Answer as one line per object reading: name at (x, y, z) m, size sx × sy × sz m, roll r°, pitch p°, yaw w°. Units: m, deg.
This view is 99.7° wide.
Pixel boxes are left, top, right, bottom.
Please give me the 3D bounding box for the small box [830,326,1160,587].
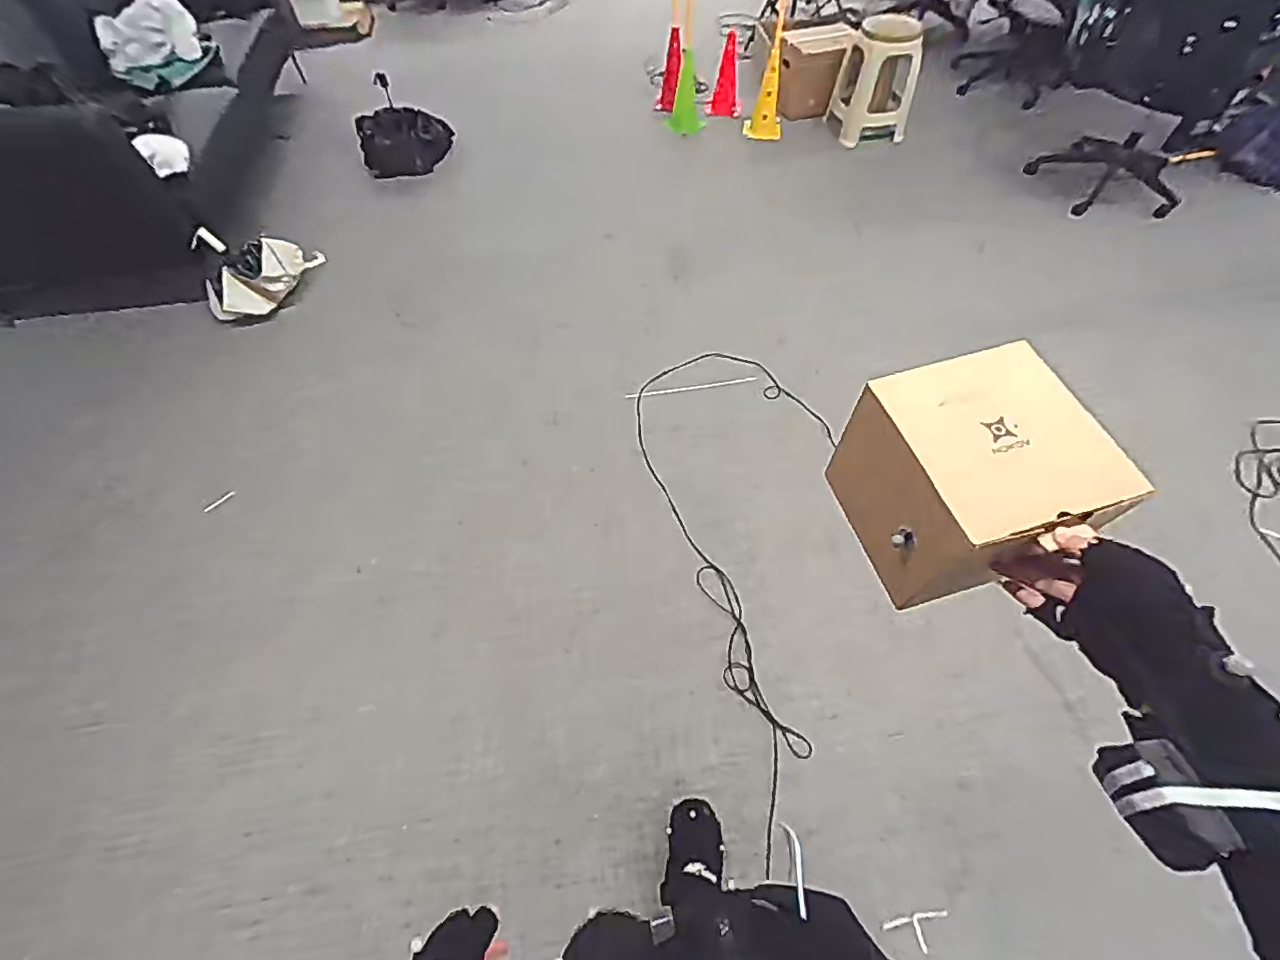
small box at (0.310, -0.011, 0.523) m, size 0.168 × 0.176 × 0.179 m, roll -16°, pitch 60°, yaw -5°
